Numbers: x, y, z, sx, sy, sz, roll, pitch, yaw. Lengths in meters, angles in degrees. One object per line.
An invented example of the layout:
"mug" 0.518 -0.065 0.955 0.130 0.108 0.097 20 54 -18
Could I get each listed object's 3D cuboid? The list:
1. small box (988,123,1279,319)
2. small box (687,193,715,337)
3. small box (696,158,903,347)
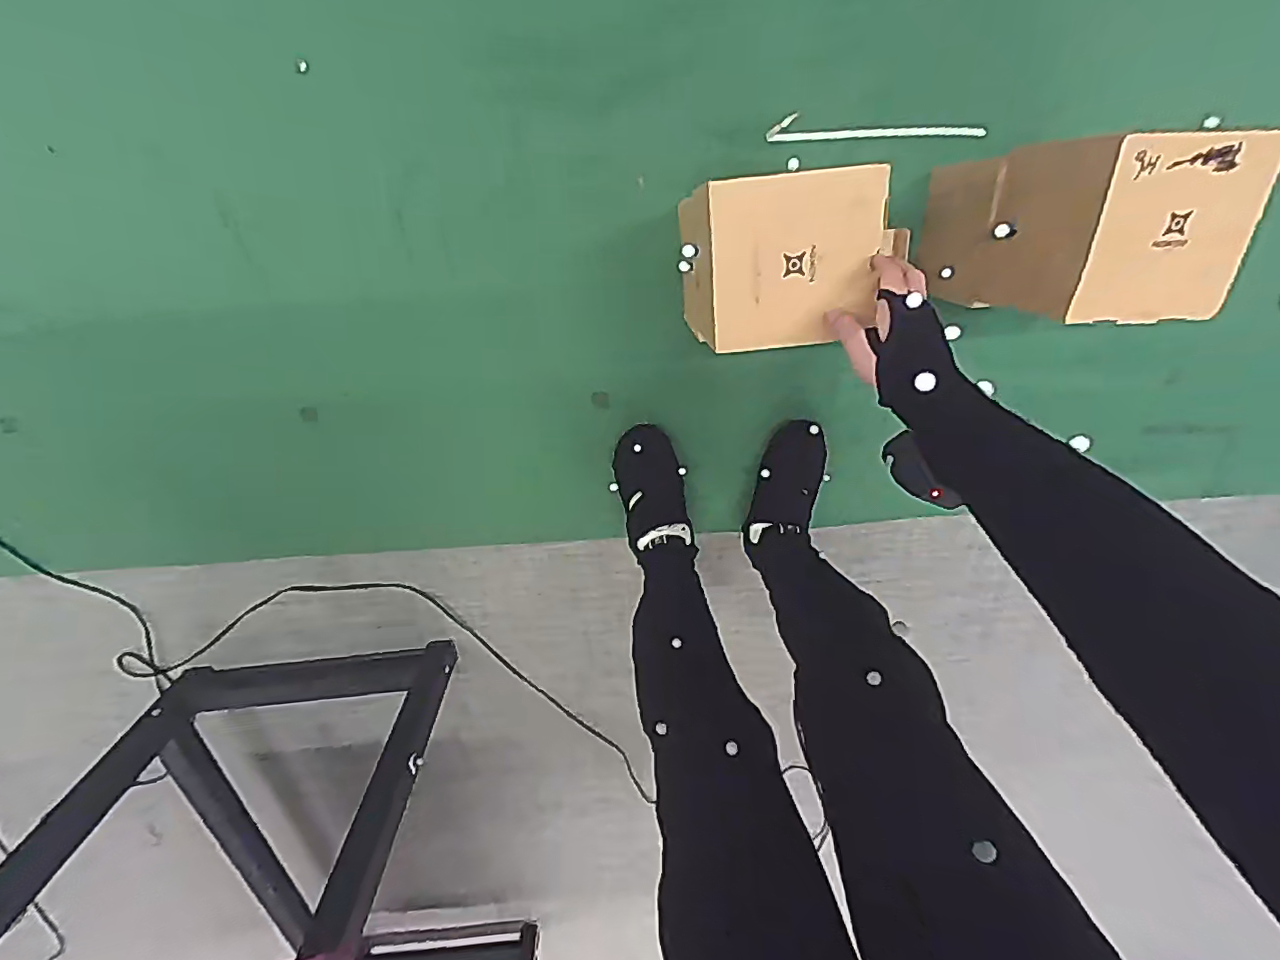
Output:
"small box" 0.531 -0.287 0.603 0.168 0.176 0.179 -2 118 -2
"small box" 0.159 -0.312 0.762 0.168 0.176 0.179 -6 115 1
"small box" 0.163 -0.255 0.609 0.179 0.176 0.168 -5 115 1
